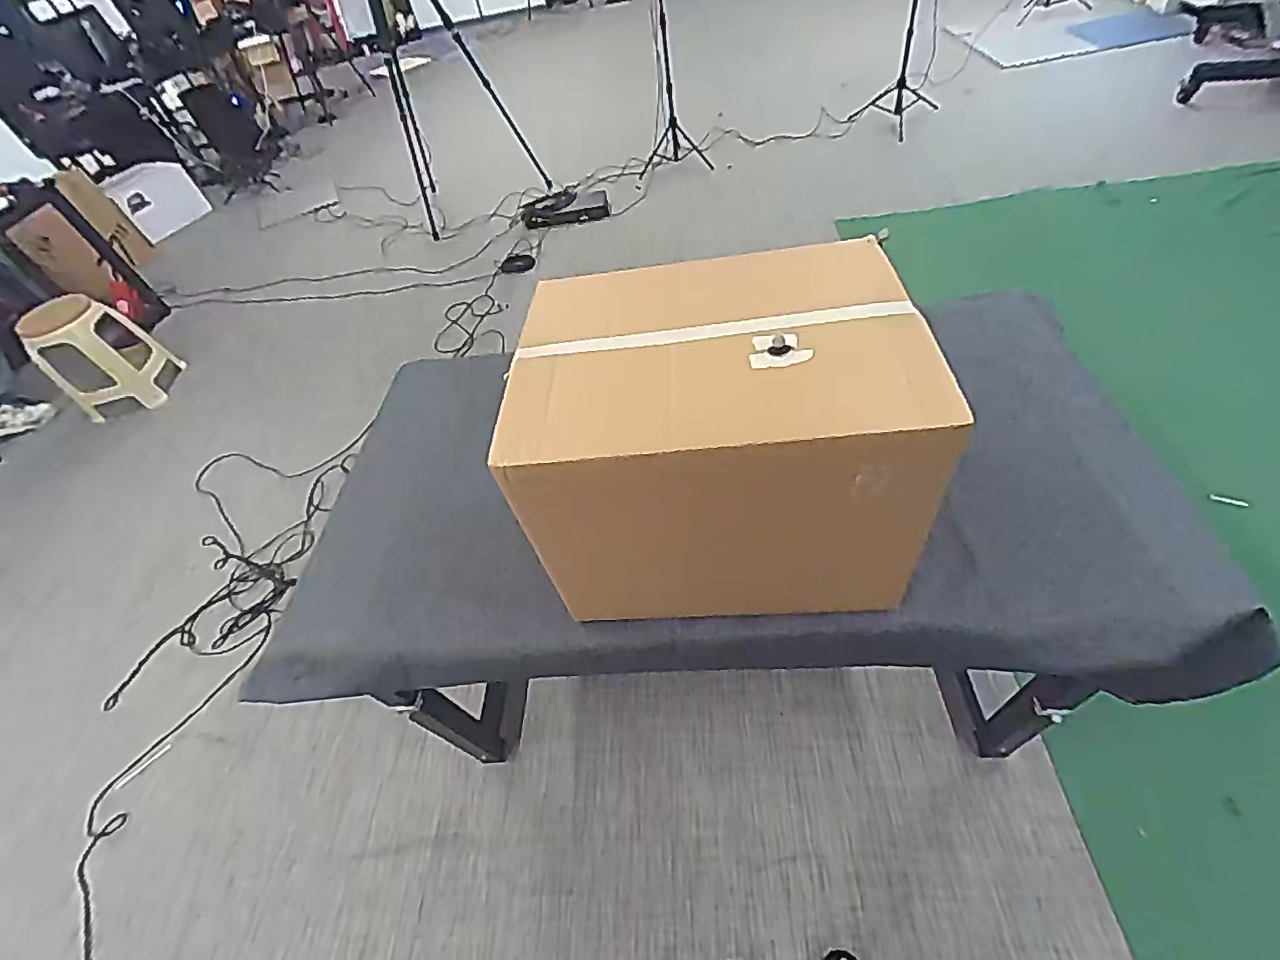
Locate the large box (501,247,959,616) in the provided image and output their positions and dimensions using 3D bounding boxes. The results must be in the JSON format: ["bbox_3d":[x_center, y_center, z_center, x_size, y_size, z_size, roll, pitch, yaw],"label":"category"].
[{"bbox_3d":[0.090,-0.047,0.671,0.408,0.320,0.320,-4,49,7],"label":"large box"}]
